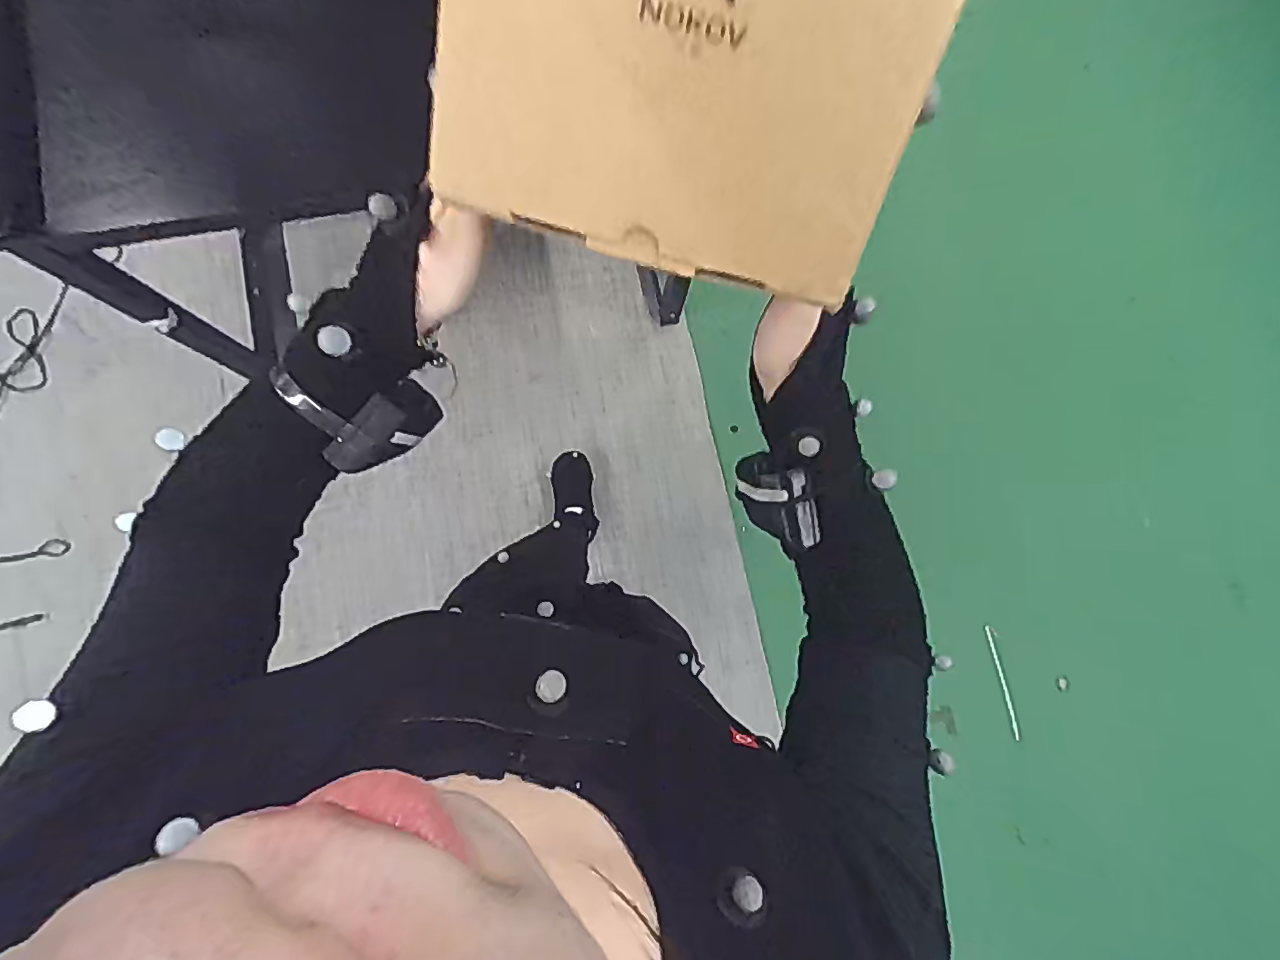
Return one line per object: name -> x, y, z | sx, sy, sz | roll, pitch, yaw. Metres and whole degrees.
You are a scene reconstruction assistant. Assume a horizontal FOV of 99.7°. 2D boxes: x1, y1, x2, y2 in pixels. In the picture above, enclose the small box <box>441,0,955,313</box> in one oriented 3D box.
small box -> 0.025, -0.201, 0.250 | 0.168, 0.176, 0.179 | 14, 120, -4
